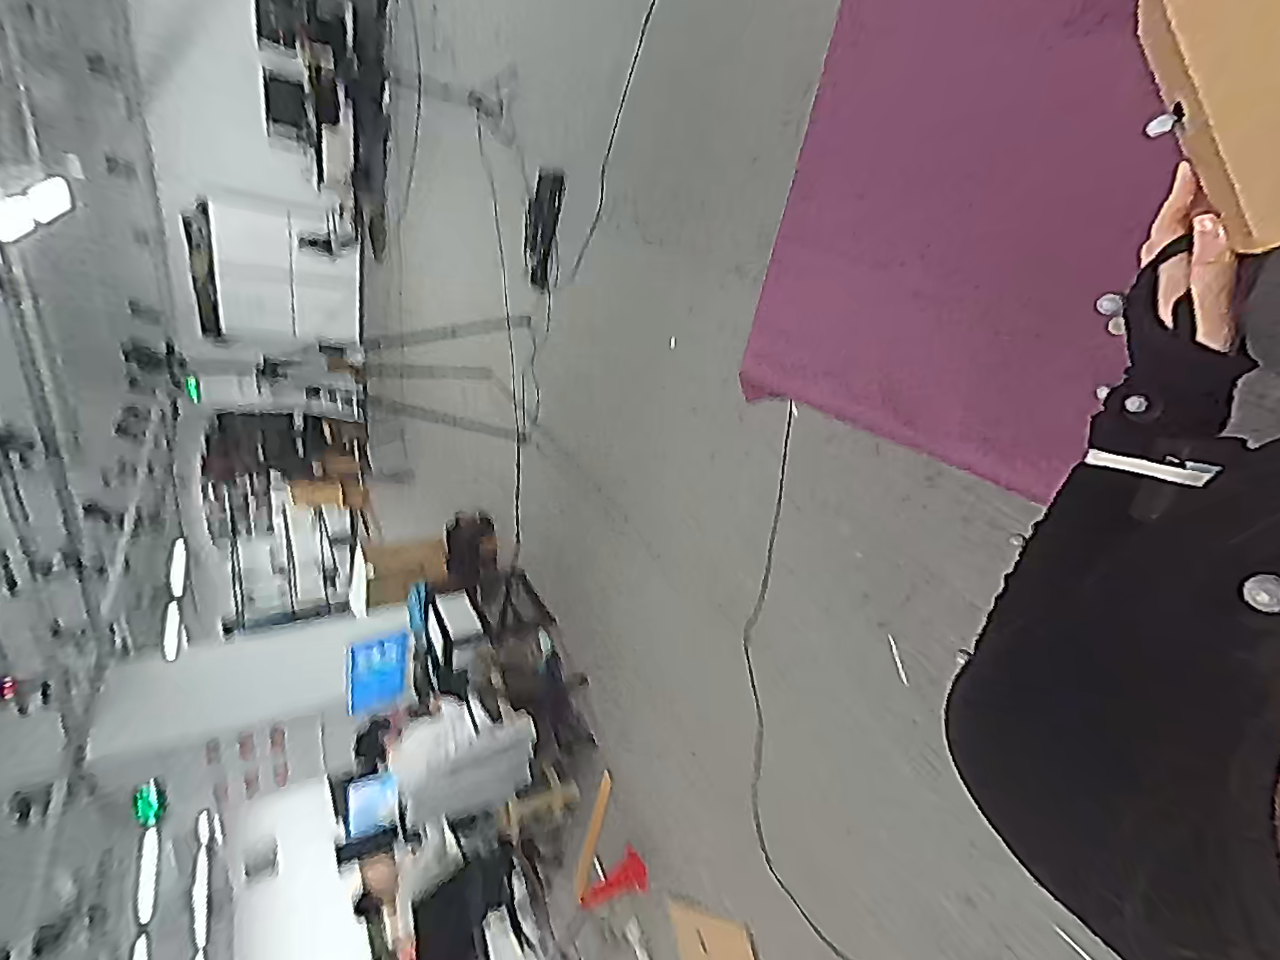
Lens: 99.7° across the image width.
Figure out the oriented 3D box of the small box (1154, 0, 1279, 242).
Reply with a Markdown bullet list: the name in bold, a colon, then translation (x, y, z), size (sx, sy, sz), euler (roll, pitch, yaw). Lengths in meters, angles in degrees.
- **small box**: translation (0.376, -0.231, 0.252), size (0.179, 0.176, 0.168), euler (-19, 94, 46)
